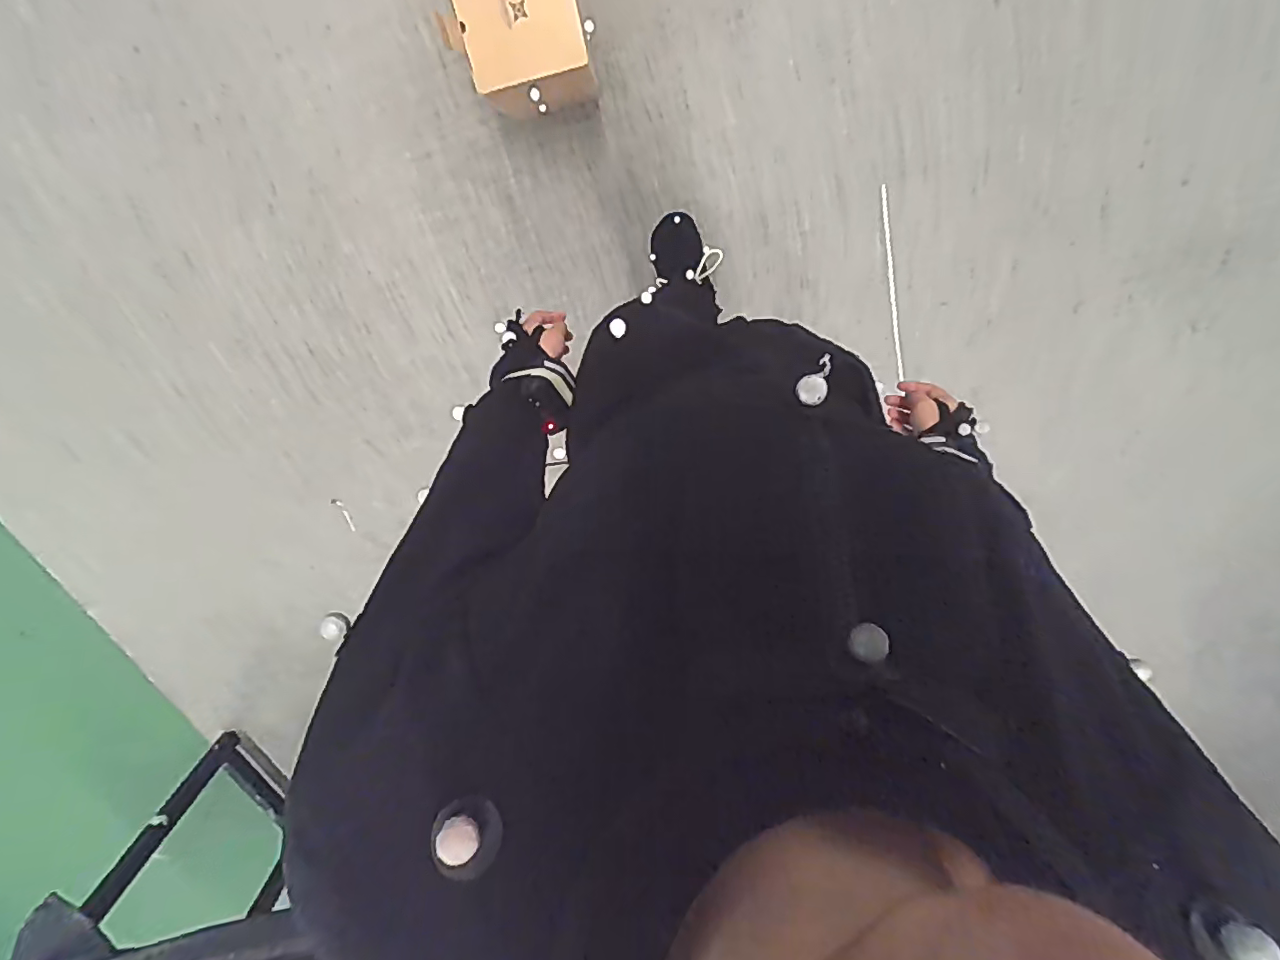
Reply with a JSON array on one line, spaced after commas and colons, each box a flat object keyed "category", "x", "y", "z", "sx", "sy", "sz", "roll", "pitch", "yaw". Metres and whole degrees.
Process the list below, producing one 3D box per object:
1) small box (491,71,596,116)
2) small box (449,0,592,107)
[{"category": "small box", "x": -0.190, "y": -0.780, "z": 0.973, "sx": 0.179, "sy": 0.176, "sz": 0.168, "roll": -11, "pitch": 116, "yaw": 7}, {"category": "small box", "x": -0.176, "y": -0.699, "z": 0.831, "sx": 0.179, "sy": 0.176, "sz": 0.168, "roll": -11, "pitch": 116, "yaw": 7}]
